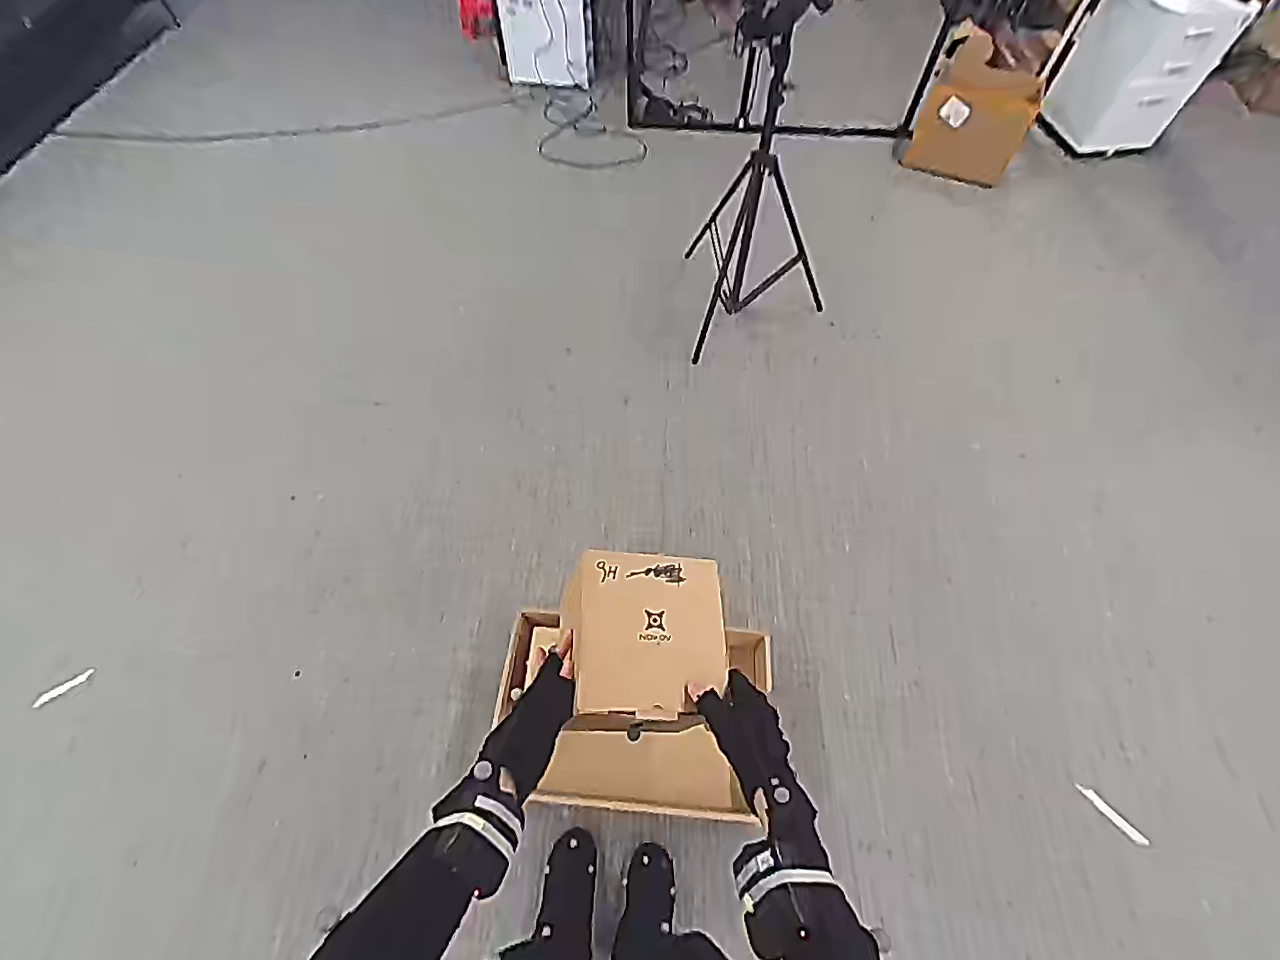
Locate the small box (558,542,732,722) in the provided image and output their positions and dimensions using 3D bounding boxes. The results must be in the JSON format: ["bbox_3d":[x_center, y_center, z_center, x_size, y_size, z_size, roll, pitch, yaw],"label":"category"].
[{"bbox_3d":[-0.004,0.191,0.650,0.168,0.176,0.179,7,60,-14],"label":"small box"}]
